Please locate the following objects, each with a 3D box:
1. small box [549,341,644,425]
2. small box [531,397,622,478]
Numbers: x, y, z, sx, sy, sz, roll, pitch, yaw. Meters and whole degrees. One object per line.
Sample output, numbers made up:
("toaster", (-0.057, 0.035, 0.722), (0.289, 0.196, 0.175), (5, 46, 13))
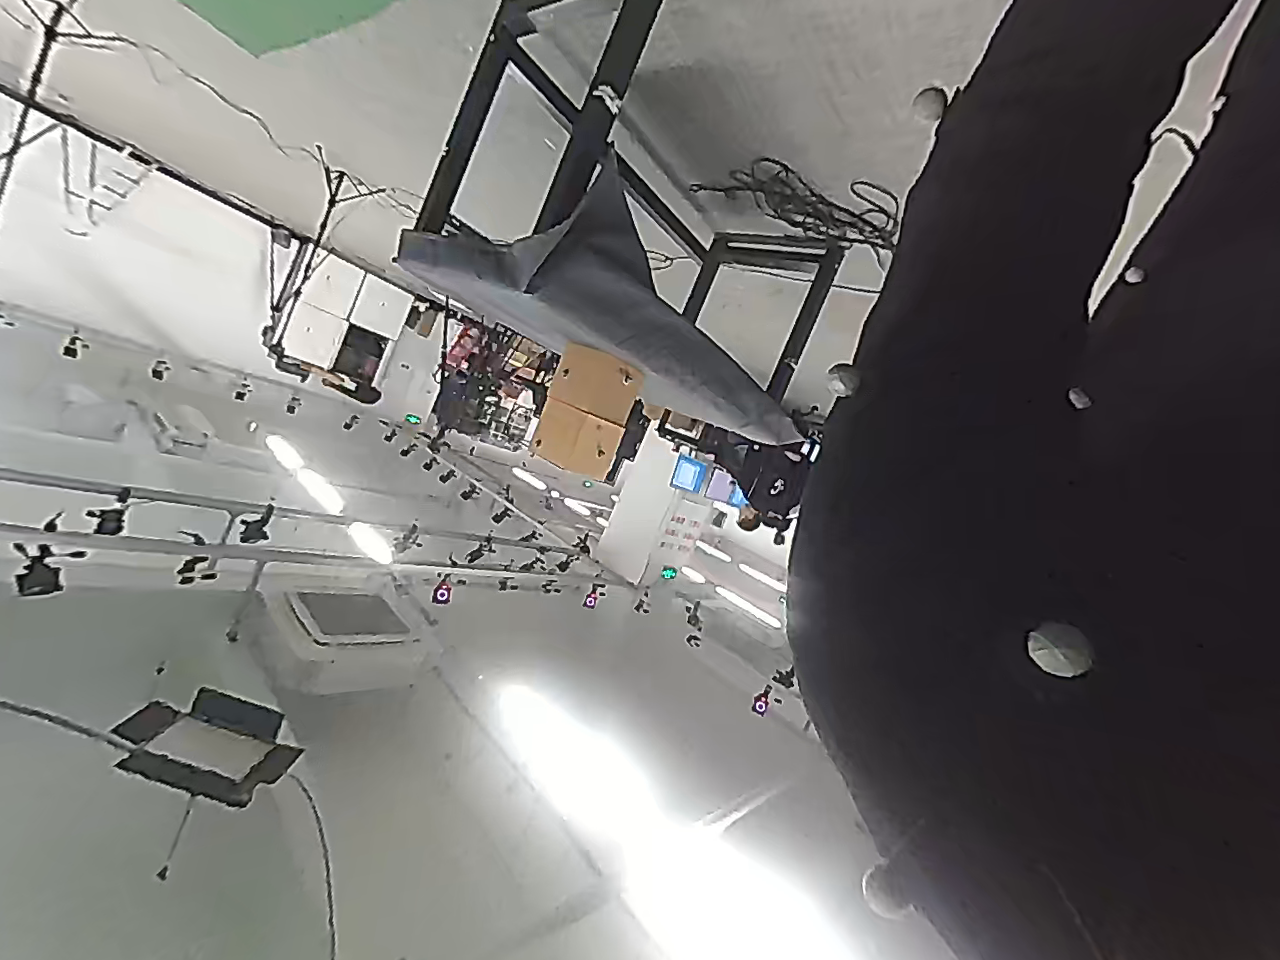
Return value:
("small box", (-0.118, -0.275, 1.517), (0.179, 0.176, 0.168), (25, -174, 37))
("small box", (-0.172, -0.122, 1.528), (0.179, 0.176, 0.168), (28, -172, 38))
